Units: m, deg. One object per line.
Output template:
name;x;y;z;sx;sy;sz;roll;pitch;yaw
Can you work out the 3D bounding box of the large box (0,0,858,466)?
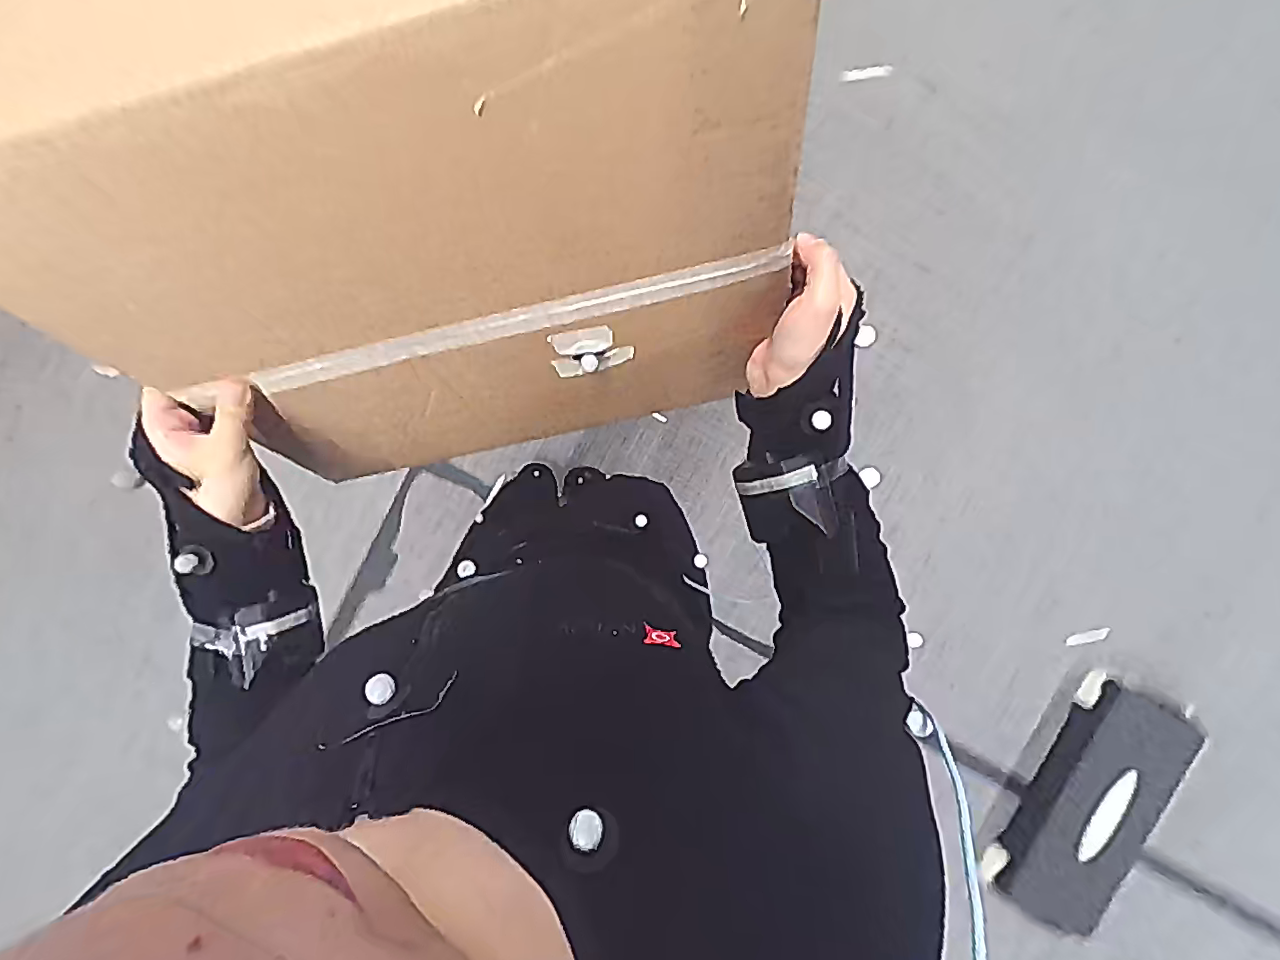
large box;-0.113;-0.245;0.382;0.408;0.320;0.320;-11;67;5
